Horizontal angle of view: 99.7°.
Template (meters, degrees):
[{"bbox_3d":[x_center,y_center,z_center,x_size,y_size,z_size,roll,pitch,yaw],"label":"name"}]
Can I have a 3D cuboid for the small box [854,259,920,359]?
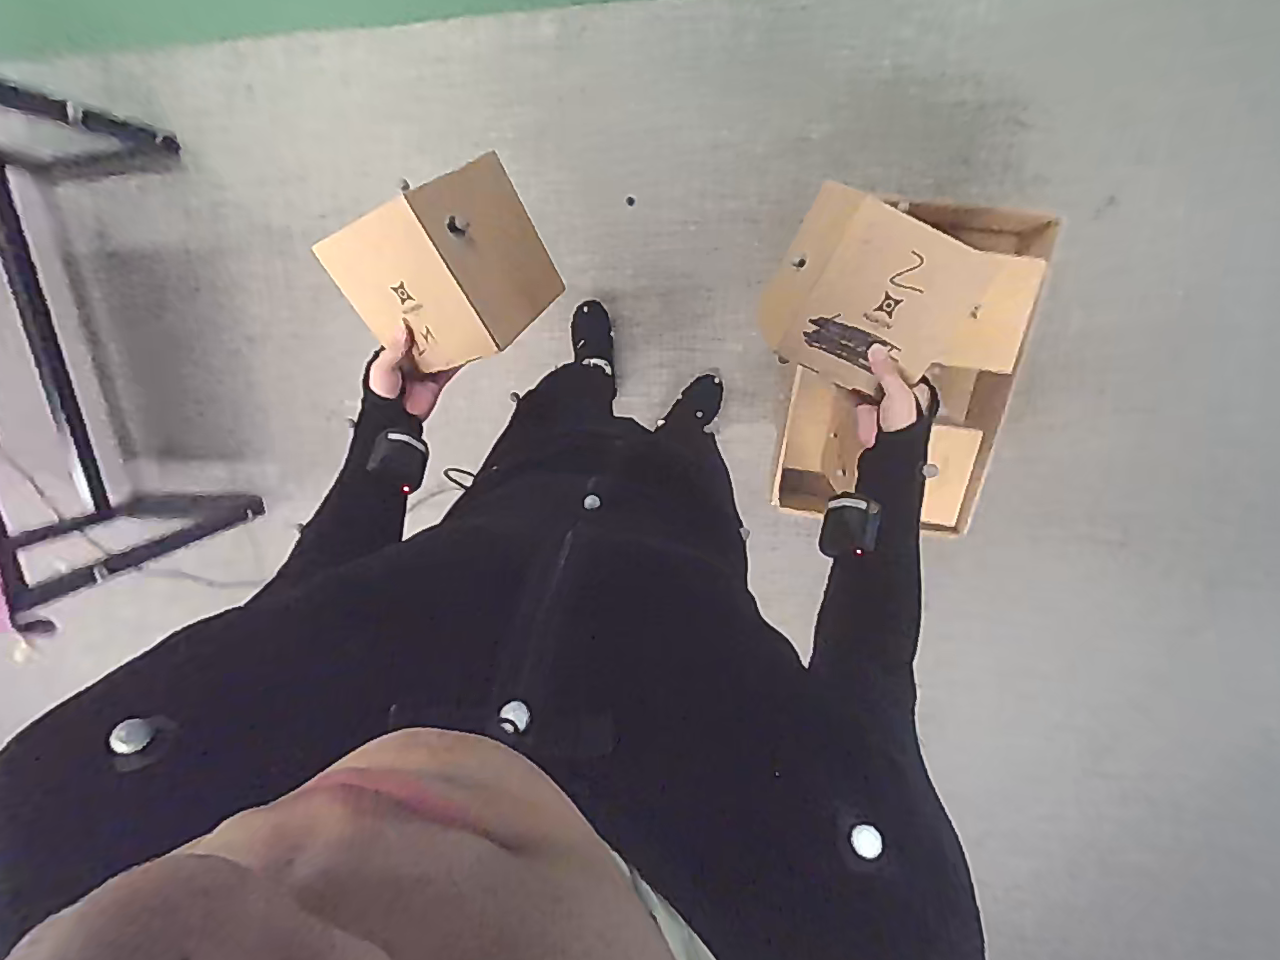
[{"bbox_3d":[0.528,-0.313,1.038,0.168,0.176,0.179,10,107,5],"label":"small box"}]

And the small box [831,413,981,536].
[{"bbox_3d":[0.453,-0.019,0.958,0.179,0.176,0.168,10,107,5],"label":"small box"}]

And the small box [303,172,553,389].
[{"bbox_3d":[-0.236,-0.238,0.641,0.168,0.176,0.179,-7,128,31],"label":"small box"}]

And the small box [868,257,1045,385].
[{"bbox_3d":[0.500,-0.260,0.885,0.179,0.176,0.168,10,108,6],"label":"small box"}]
